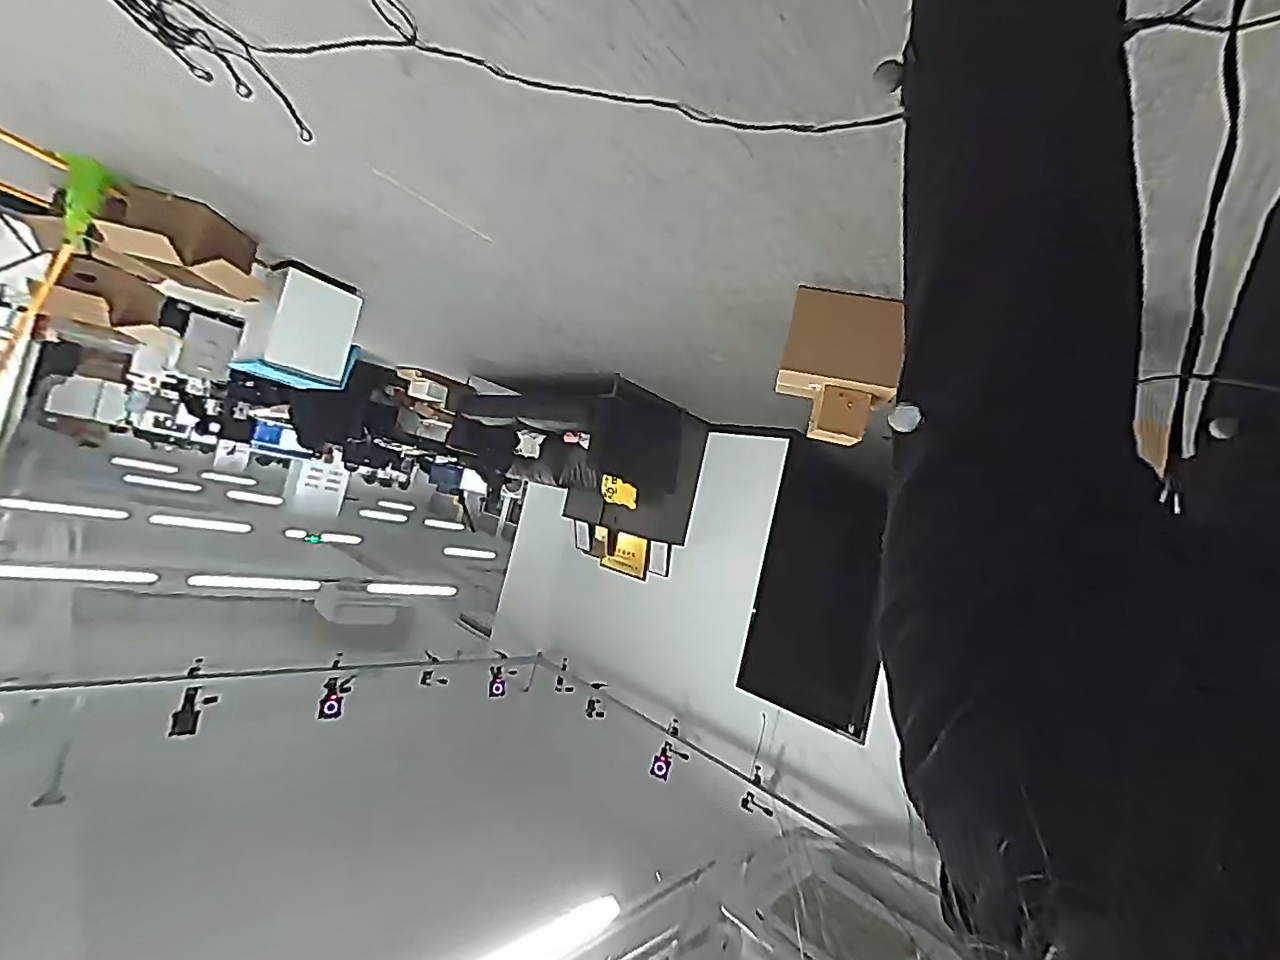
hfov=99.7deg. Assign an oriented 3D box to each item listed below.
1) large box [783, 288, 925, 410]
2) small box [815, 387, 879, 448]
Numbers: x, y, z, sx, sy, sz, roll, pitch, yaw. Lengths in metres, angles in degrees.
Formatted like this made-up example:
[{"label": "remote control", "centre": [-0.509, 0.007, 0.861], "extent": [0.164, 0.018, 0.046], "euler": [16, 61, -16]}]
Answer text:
[{"label": "large box", "centre": [0.770, -0.475, 1.994], "extent": [0.408, 0.320, 0.320], "euler": [14, 177, 13]}, {"label": "small box", "centre": [0.757, -0.228, 1.979], "extent": [0.168, 0.176, 0.179], "euler": [13, 177, 9]}]
